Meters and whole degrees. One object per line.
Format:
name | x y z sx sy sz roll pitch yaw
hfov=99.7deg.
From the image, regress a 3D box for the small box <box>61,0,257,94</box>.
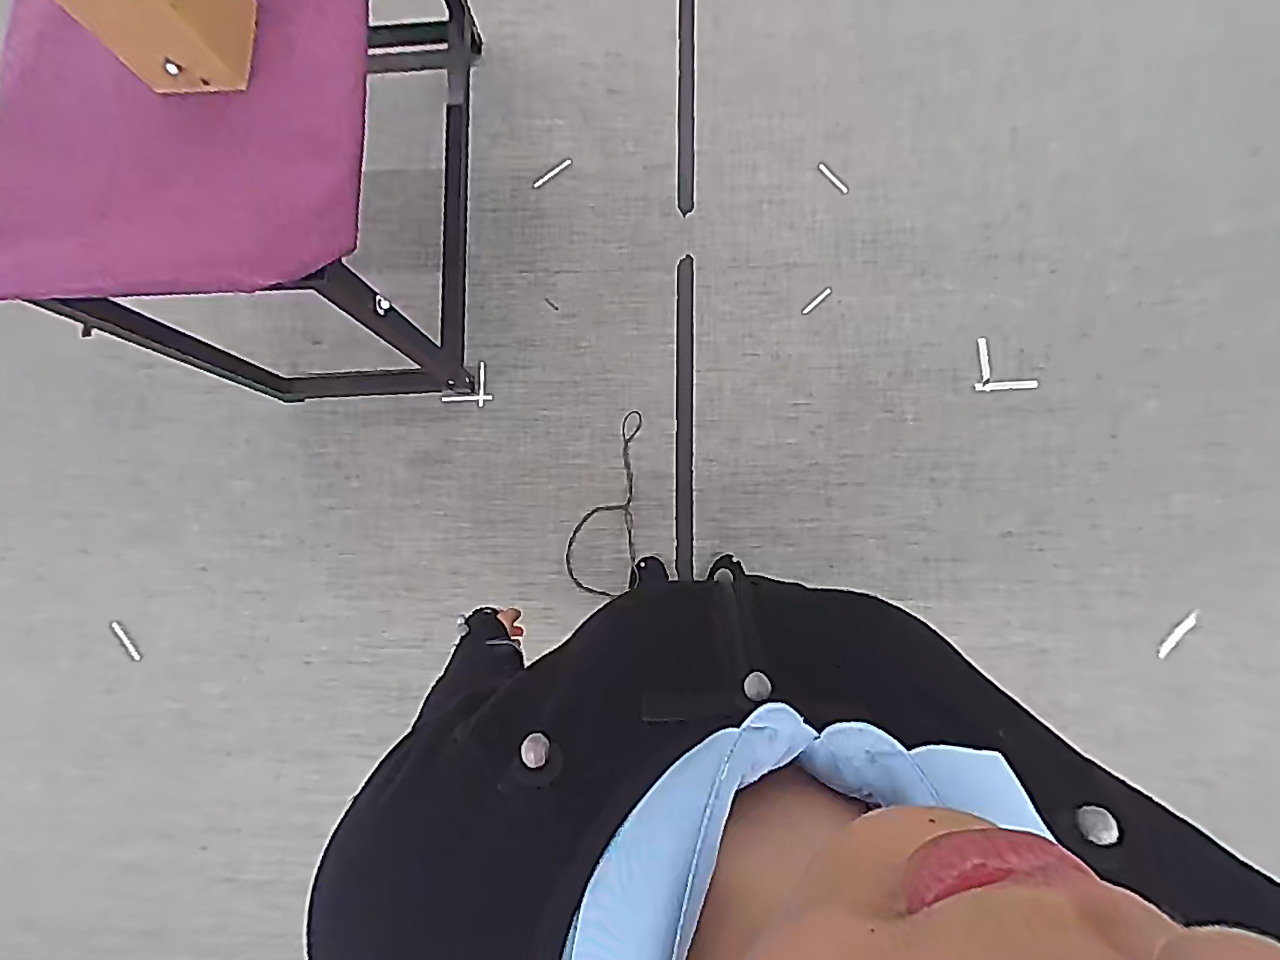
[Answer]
small box | -0.752 -0.761 0.860 0.168 0.176 0.179 0 83 3
